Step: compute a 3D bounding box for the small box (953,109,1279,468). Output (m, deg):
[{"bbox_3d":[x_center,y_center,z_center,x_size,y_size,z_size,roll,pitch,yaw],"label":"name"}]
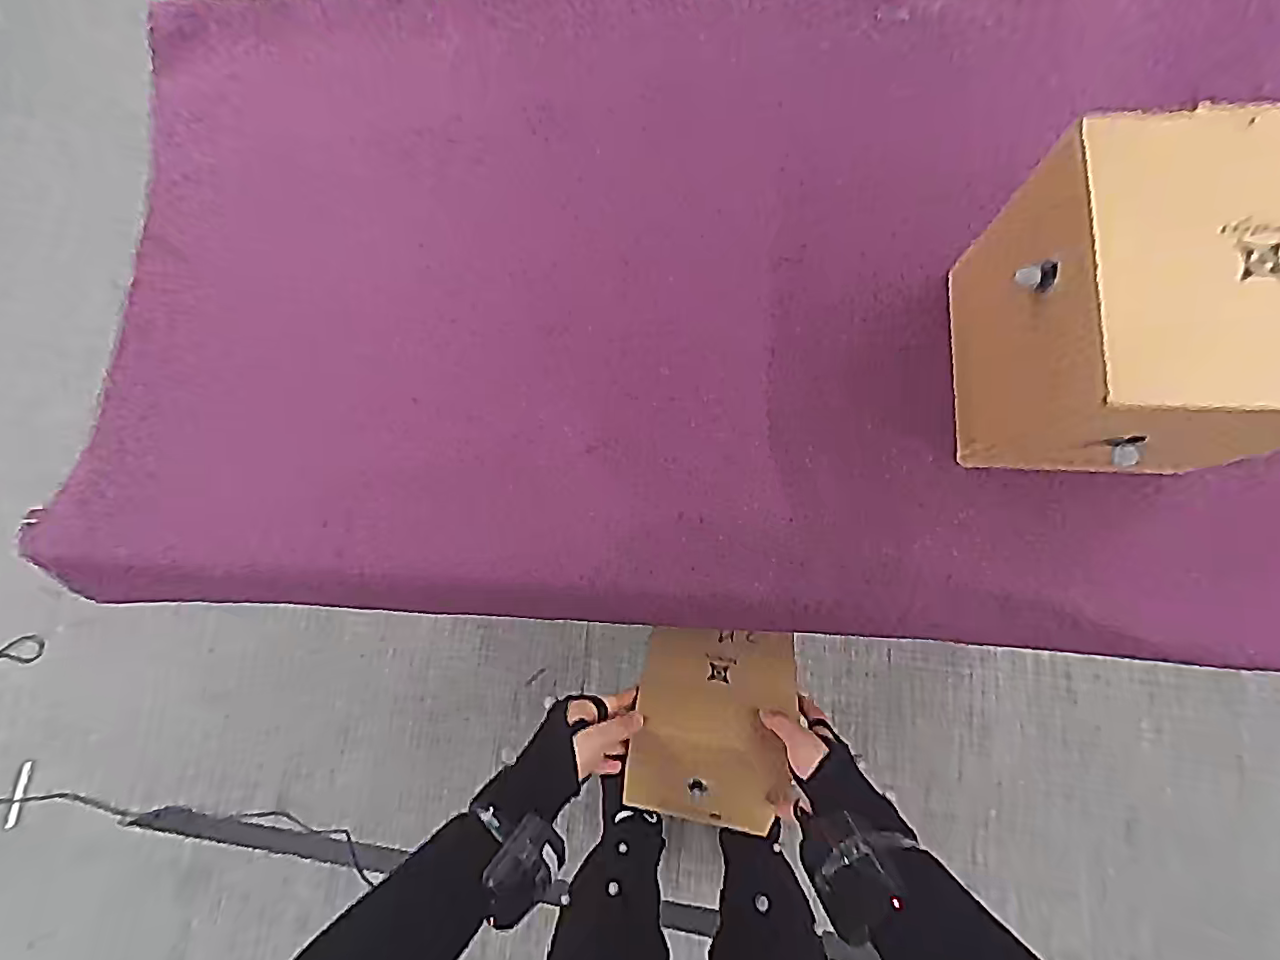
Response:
[{"bbox_3d":[0.336,-0.107,0.367,0.168,0.176,0.179,2,80,7],"label":"small box"}]
